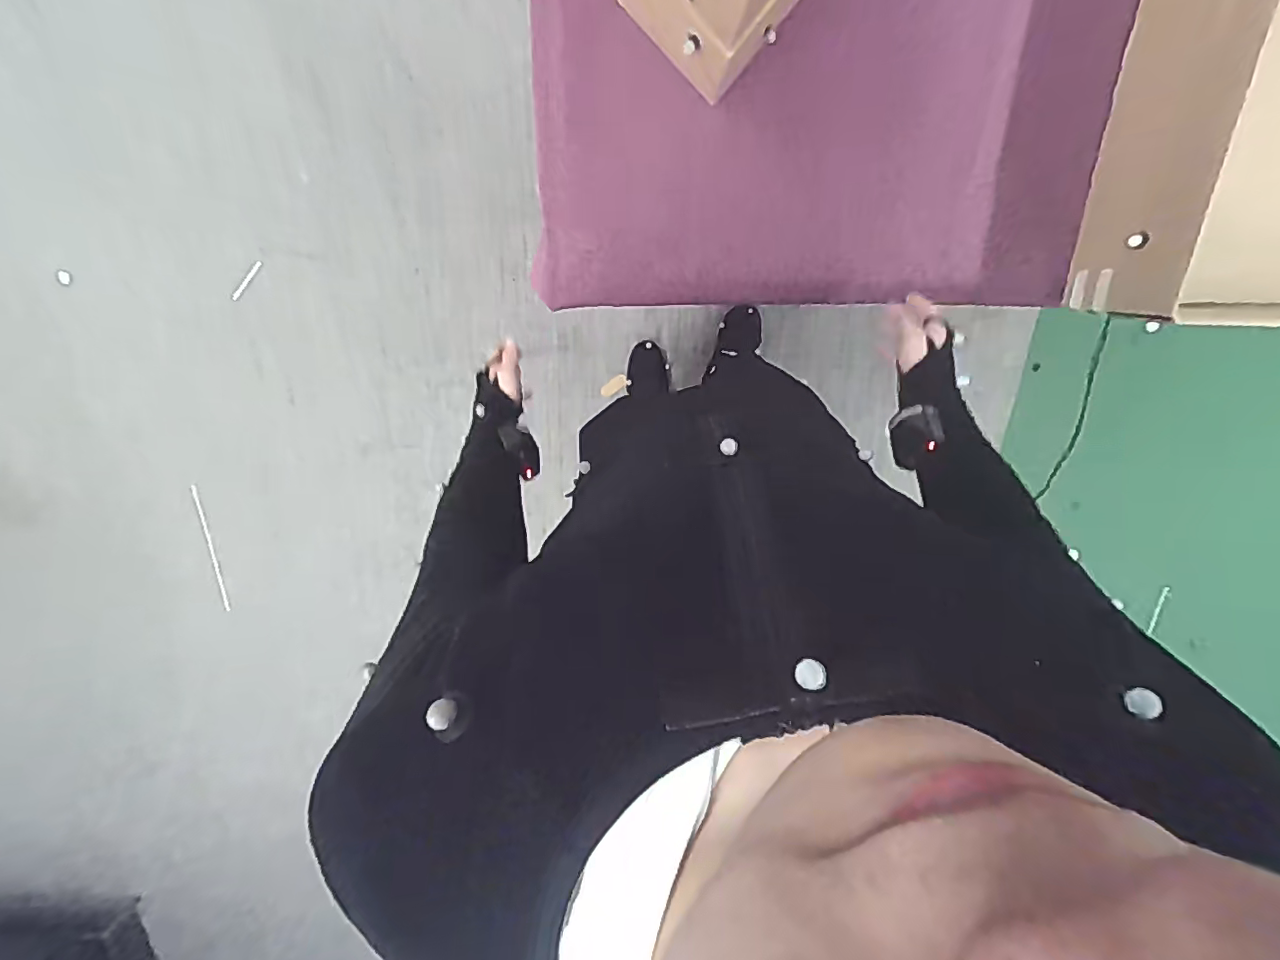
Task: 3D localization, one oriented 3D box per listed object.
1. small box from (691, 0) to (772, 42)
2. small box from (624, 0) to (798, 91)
[{"bbox_3d":[0.093,-0.537,0.460,0.168,0.176,0.179,41,105,-14],"label":"small box"},{"bbox_3d":[0.090,-0.588,0.615,0.179,0.176,0.168,41,105,-13],"label":"small box"}]
